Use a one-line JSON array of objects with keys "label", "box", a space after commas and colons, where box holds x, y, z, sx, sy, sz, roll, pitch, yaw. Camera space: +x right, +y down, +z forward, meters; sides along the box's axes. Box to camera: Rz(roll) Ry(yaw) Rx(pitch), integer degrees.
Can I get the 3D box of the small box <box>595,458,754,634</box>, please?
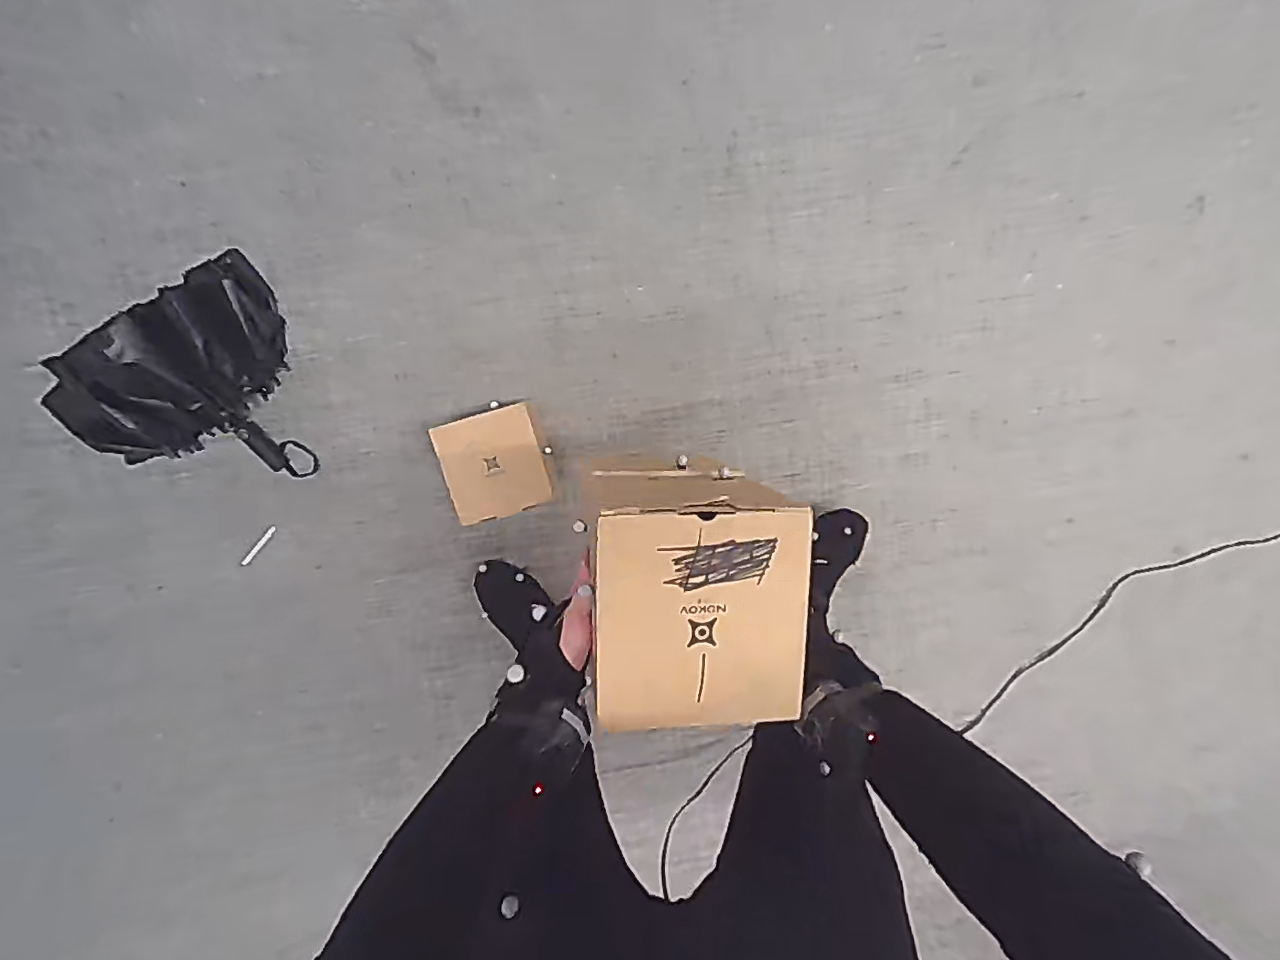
[{"label": "small box", "box": [0.031, 0.070, 0.661, 0.168, 0.176, 0.179, 0, 98, -7]}]
